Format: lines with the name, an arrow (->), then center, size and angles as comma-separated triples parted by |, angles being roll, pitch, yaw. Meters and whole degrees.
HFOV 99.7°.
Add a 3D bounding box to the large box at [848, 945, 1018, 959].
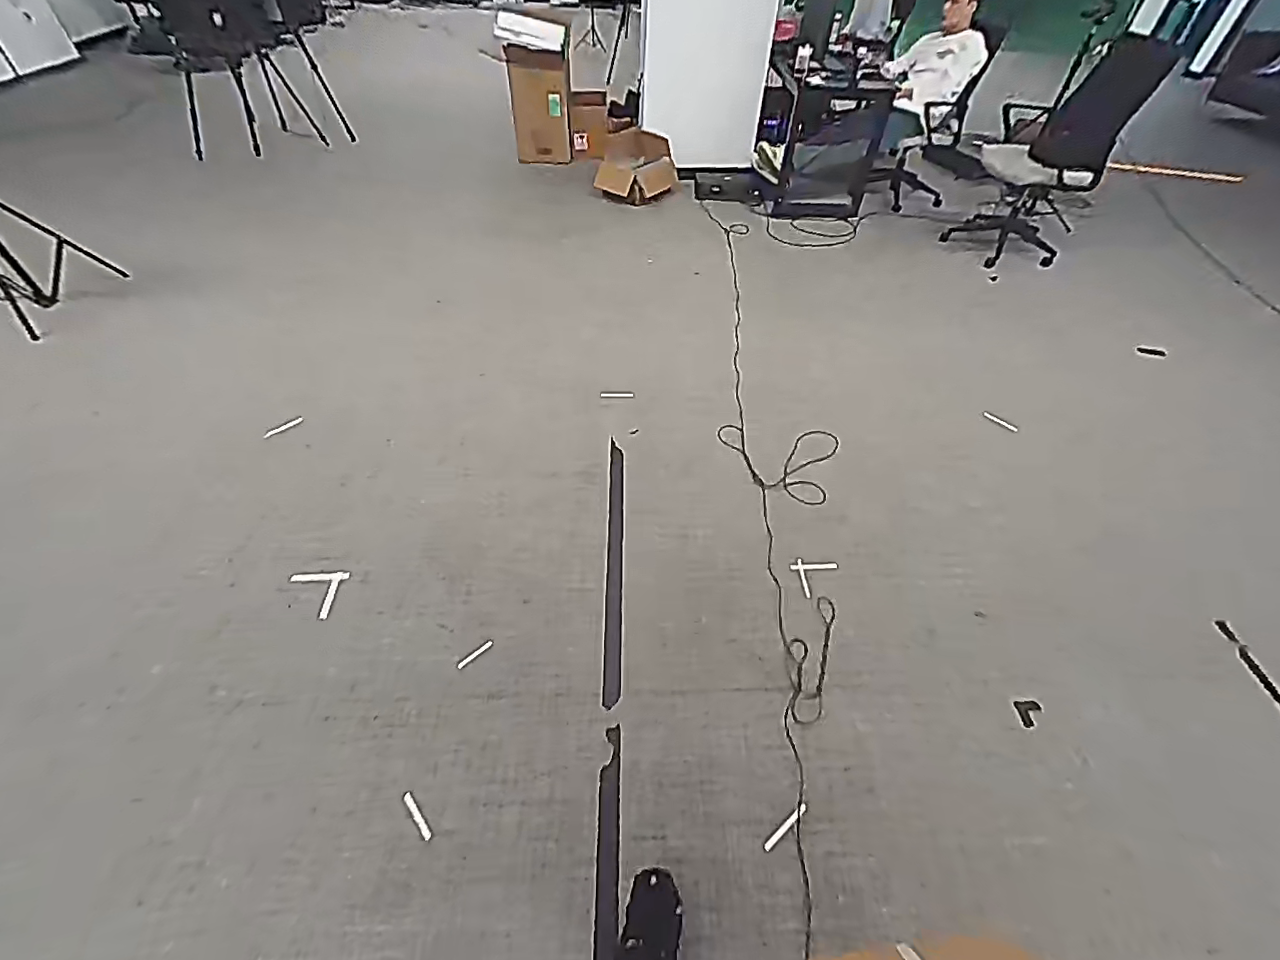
large box -> 0.409, 0.803, 0.579 | 0.320, 0.408, 0.320 | -6, 75, -2
